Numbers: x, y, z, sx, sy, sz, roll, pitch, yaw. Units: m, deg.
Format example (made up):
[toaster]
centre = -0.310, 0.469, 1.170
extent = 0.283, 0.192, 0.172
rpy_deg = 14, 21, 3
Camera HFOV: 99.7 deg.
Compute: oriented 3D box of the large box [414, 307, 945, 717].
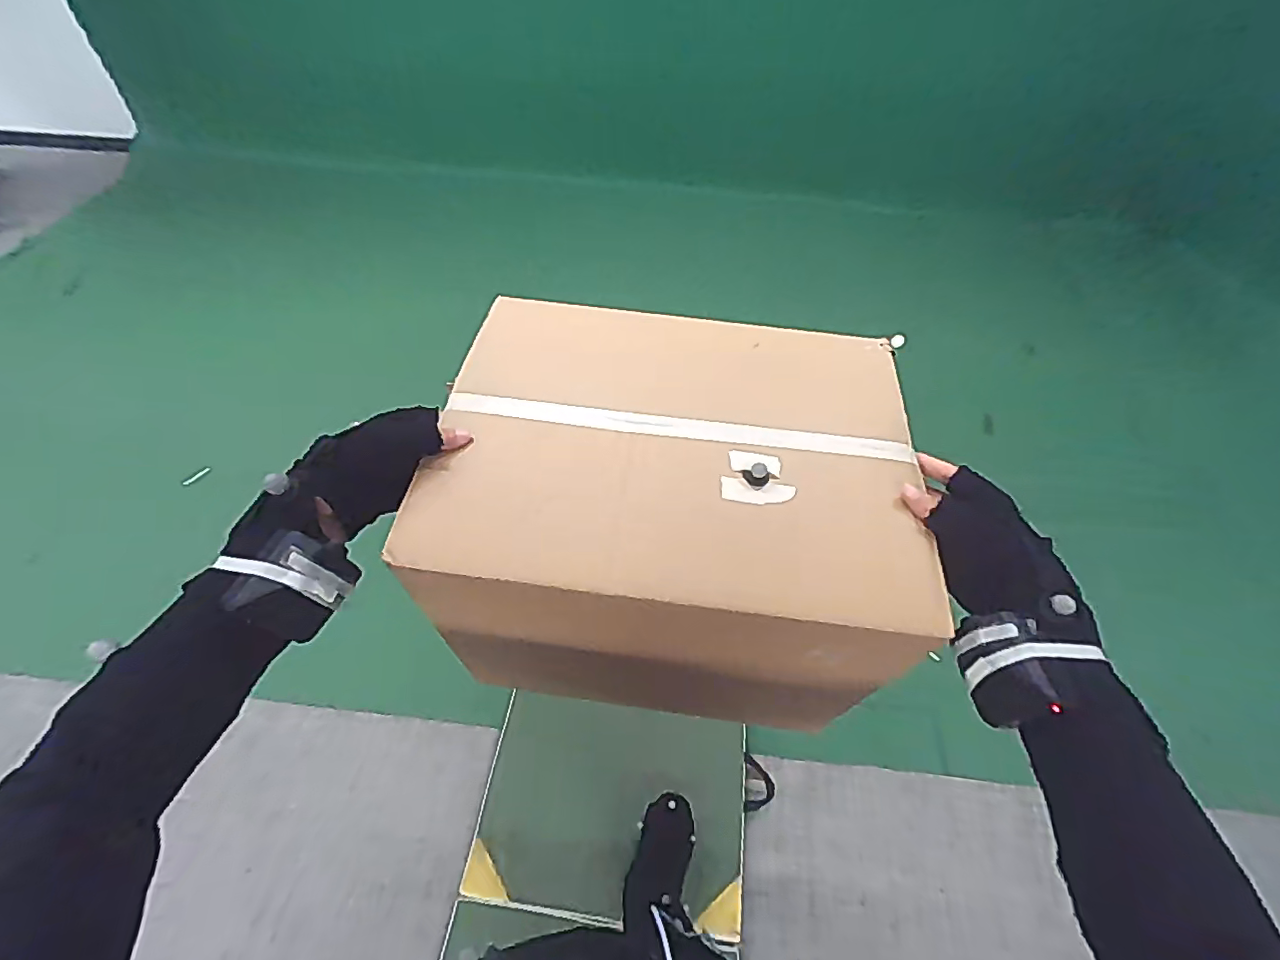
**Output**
[large box]
centre = 0.033, 0.047, 0.602
extent = 0.408, 0.320, 0.320
rpy_deg = 7, 54, 1
